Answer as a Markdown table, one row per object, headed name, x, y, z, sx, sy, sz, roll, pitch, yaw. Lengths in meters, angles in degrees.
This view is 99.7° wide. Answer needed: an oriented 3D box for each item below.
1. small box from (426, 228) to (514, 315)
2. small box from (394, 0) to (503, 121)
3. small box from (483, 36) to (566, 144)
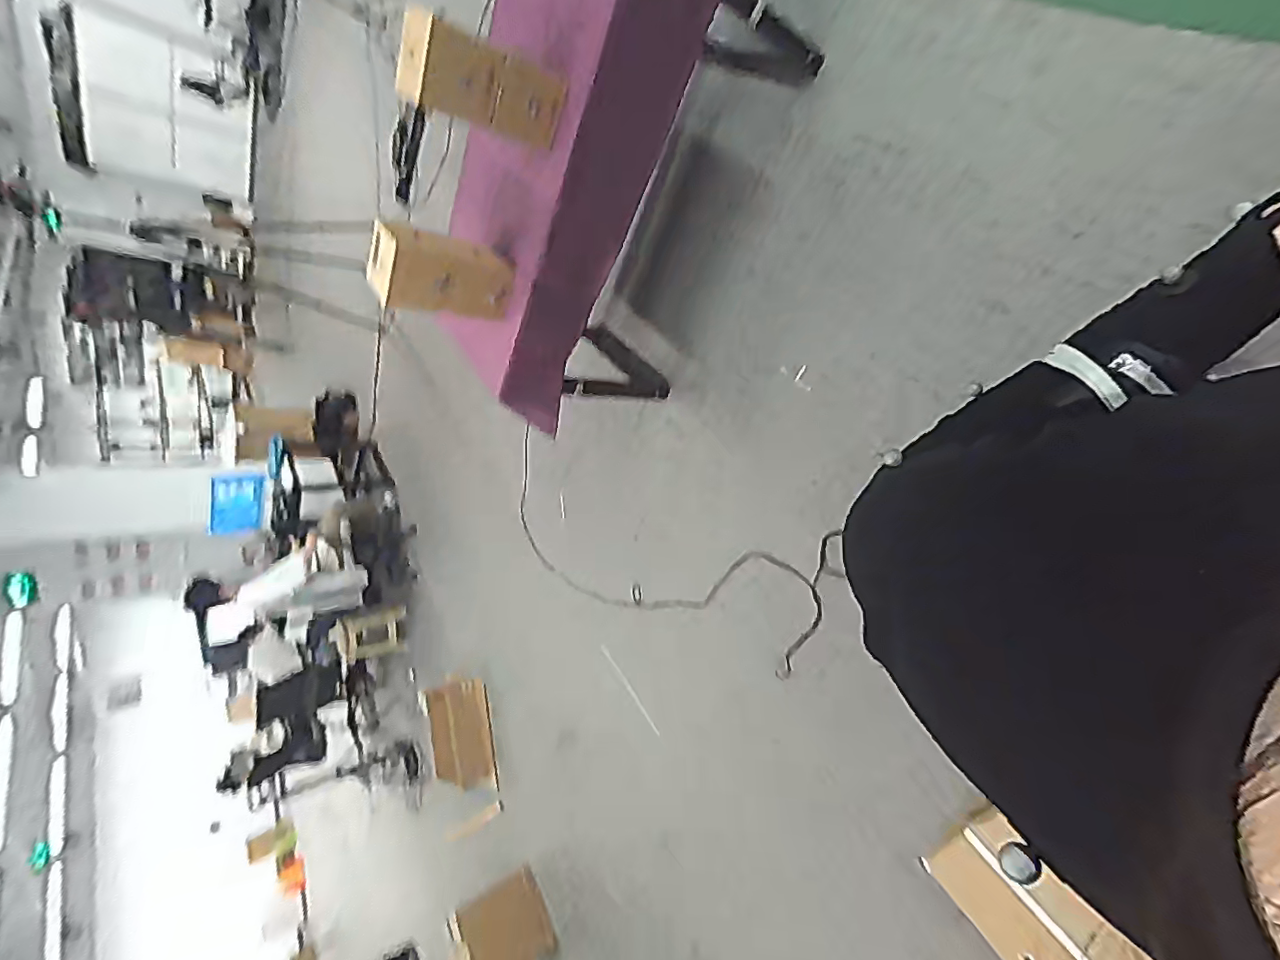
| name | x | y | z | sx | sy | sz | roll | pitch | yaw |
| --- | --- | --- | --- | --- | --- | --- | --- | --- | --- |
| small box | -0.490 | -0.594 | 1.559 | 0.179 | 0.176 | 0.168 | 50 | 127 | 31 |
| small box | -0.430 | -0.943 | 1.218 | 0.179 | 0.176 | 0.168 | 49 | 126 | 33 |
| small box | -0.307 | -0.956 | 1.328 | 0.179 | 0.176 | 0.168 | 48 | 126 | 32 |
